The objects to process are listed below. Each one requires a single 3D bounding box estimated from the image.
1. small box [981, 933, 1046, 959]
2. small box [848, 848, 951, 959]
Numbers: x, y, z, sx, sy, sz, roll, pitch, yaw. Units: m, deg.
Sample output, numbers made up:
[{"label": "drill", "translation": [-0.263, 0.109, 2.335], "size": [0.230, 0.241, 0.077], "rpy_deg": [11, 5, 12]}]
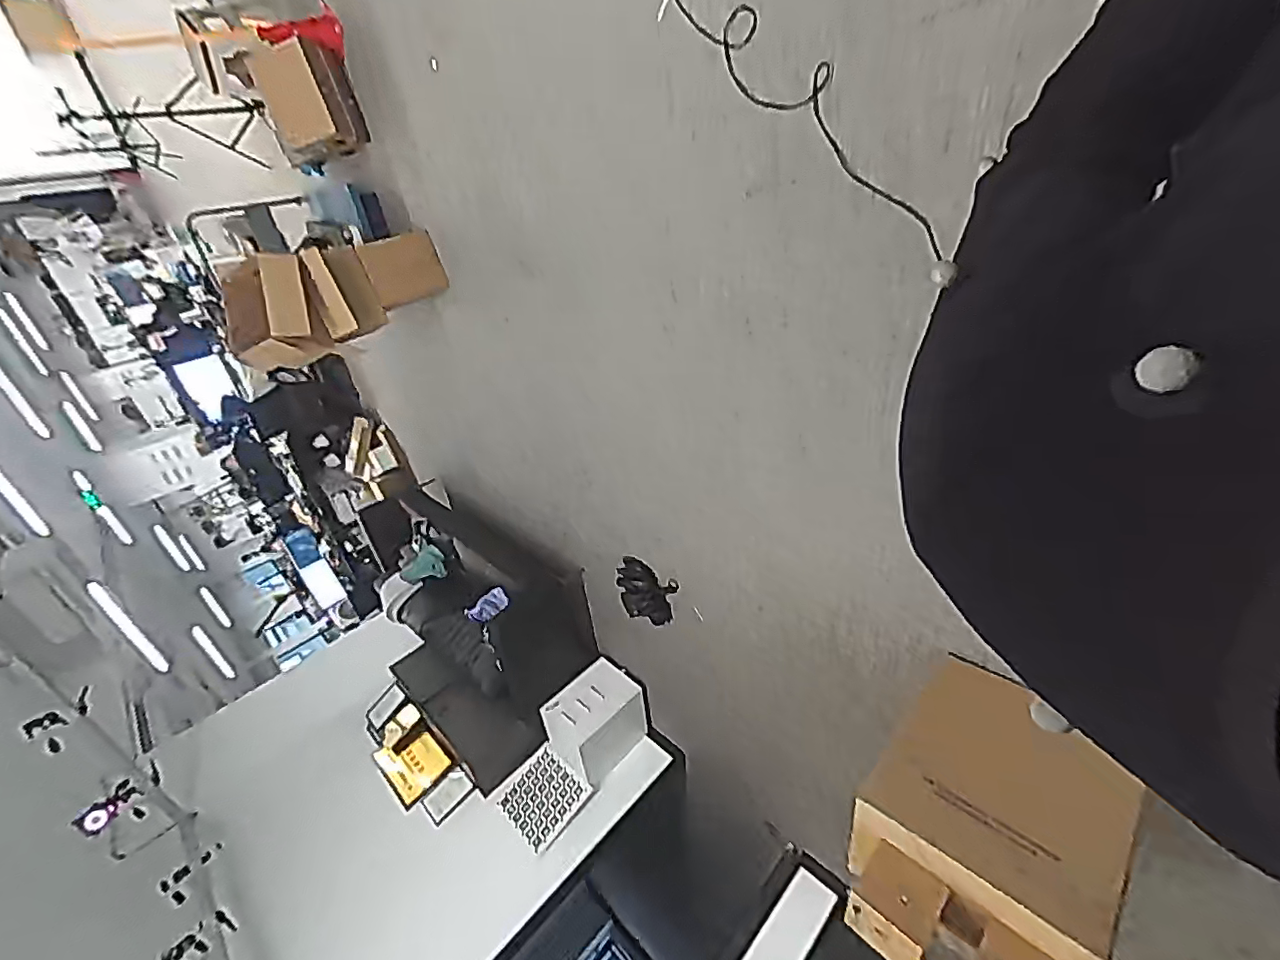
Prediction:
[{"label": "small box", "translation": [0.834, 1.146, 1.178], "size": [0.179, 0.176, 0.168], "rpy_deg": [18, 127, 41]}, {"label": "small box", "translation": [0.647, 1.078, 1.349], "size": [0.179, 0.176, 0.168], "rpy_deg": [22, 128, 40]}]
